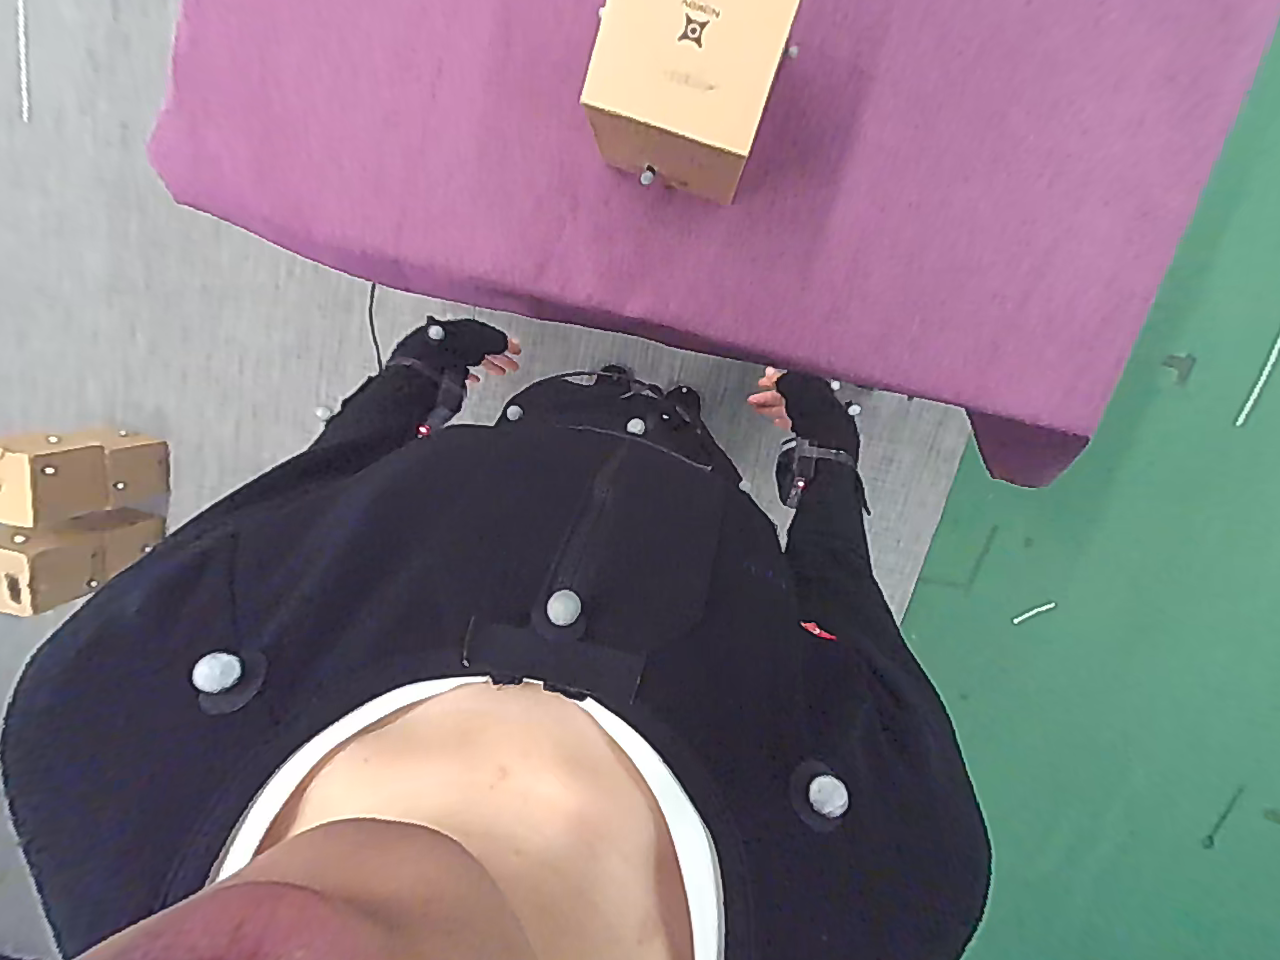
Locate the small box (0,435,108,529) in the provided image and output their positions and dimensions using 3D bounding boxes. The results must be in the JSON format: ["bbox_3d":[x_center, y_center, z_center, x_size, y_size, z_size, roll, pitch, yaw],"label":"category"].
[{"bbox_3d":[-1.433,-0.001,1.293,0.168,0.176,0.179,10,102,0],"label":"small box"}]

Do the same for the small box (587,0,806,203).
[{"bbox_3d":[0.056,-0.420,0.557,0.168,0.176,0.179,18,103,-1],"label":"small box"}]

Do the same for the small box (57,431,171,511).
[{"bbox_3d":[-1.422,-0.031,1.454,0.179,0.176,0.168,11,103,1],"label":"small box"}]
